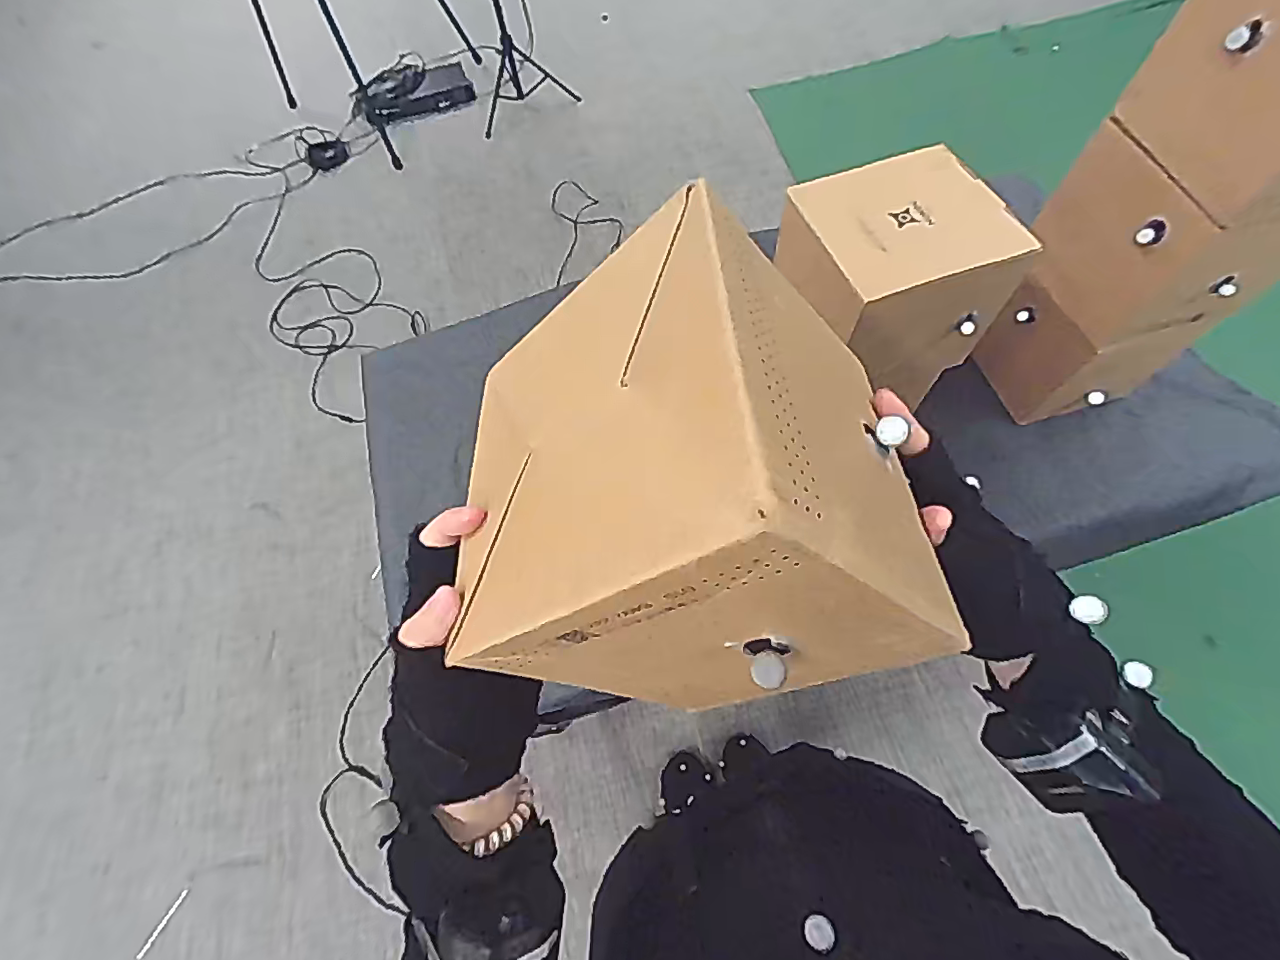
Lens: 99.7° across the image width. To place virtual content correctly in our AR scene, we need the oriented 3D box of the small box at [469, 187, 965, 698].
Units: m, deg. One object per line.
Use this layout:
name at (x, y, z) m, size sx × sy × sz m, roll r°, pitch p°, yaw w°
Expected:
small box at (0.027, 0.000, 0.282) m, size 0.168 × 0.176 × 0.179 m, roll -30°, pitch 49°, yaw 35°

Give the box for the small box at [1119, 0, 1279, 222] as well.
small box at (0.560, -0.346, 0.437) m, size 0.168 × 0.176 × 0.179 m, roll -12°, pitch 64°, yaw 0°

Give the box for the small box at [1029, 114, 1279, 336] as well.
small box at (0.574, -0.278, 0.586) m, size 0.168 × 0.176 × 0.179 m, roll -14°, pitch 64°, yaw -1°

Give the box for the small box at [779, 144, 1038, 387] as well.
small box at (0.260, -0.215, 0.585) m, size 0.179 × 0.176 × 0.168 m, roll -18°, pitch 64°, yaw -3°
